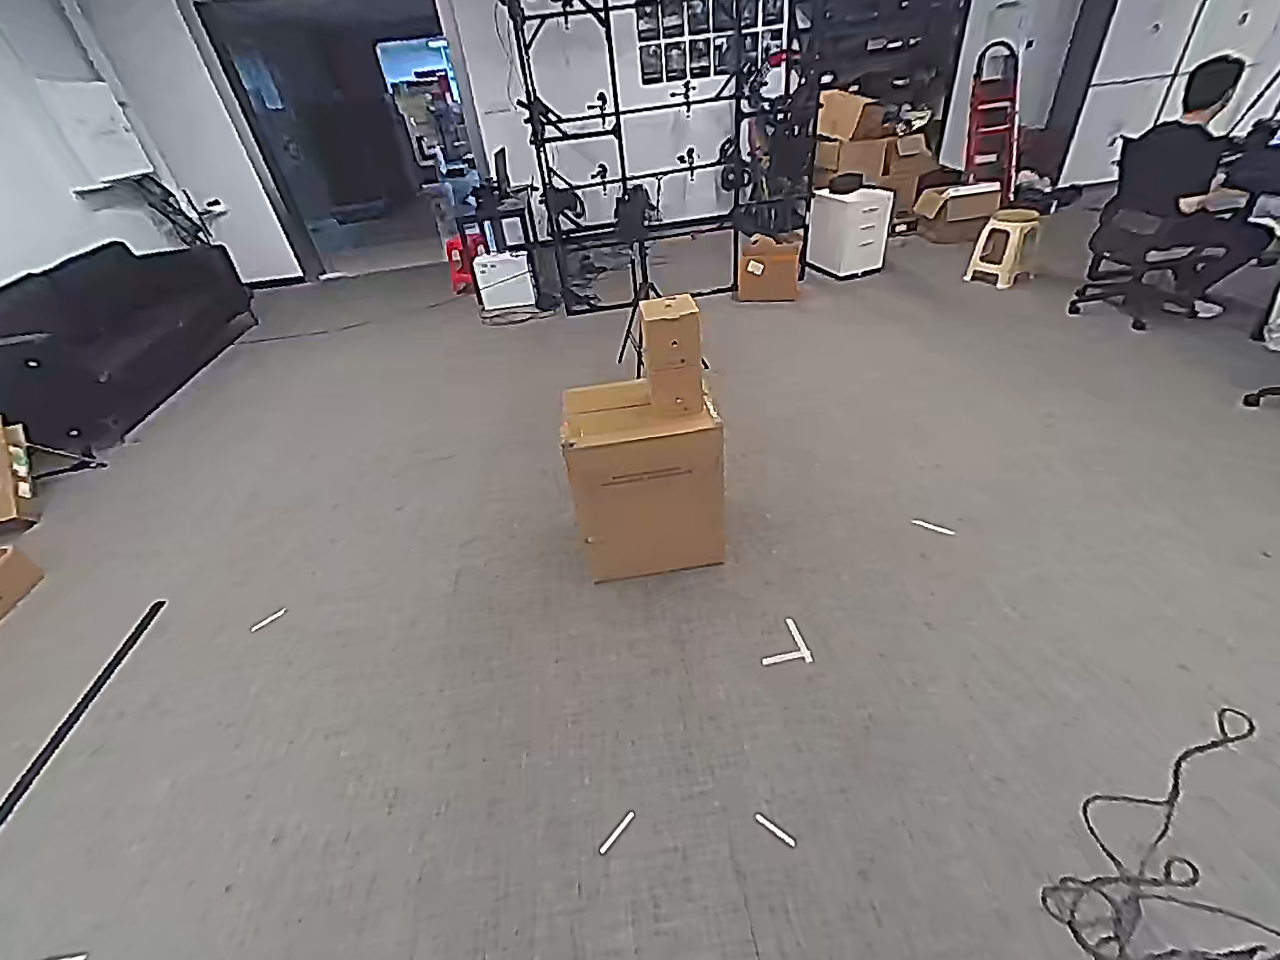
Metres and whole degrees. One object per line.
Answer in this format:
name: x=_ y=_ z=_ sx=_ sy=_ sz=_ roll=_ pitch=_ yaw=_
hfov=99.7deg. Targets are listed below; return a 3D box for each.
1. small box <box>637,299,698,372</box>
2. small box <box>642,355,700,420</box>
small box: x=0.088 y=-0.453 z=1.715 sx=0.168 sy=0.176 sz=0.179 roll=-9 pitch=38 yaw=-1
small box: x=0.103 y=-0.320 z=1.810 sx=0.168 sy=0.176 sz=0.179 roll=-10 pitch=37 yaw=-1
